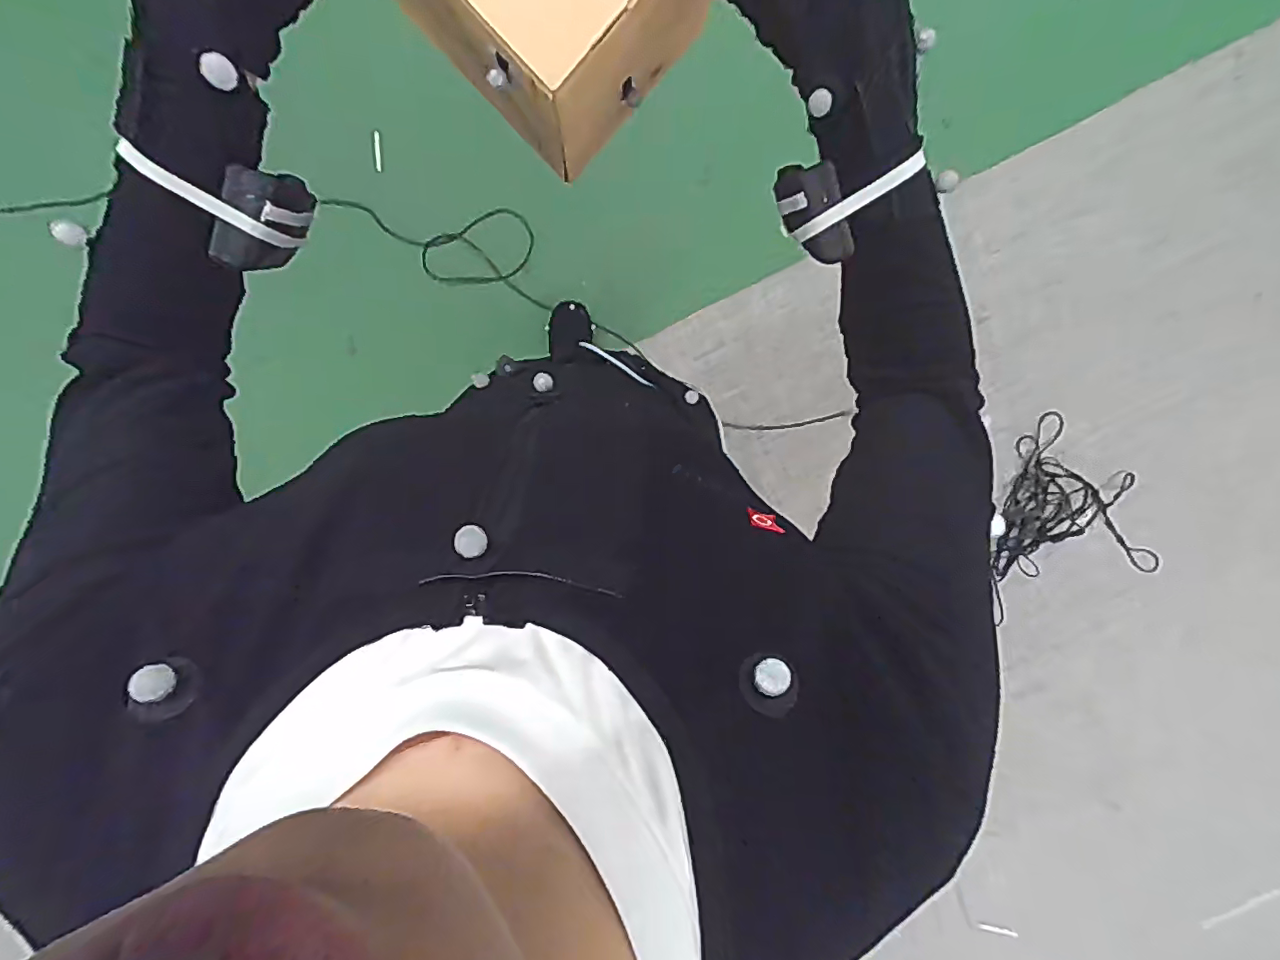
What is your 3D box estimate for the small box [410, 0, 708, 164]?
[{"bbox_3d":[-0.059,-0.354,0.357,0.179,0.176,0.168,42,97,-14],"label":"small box"}]
